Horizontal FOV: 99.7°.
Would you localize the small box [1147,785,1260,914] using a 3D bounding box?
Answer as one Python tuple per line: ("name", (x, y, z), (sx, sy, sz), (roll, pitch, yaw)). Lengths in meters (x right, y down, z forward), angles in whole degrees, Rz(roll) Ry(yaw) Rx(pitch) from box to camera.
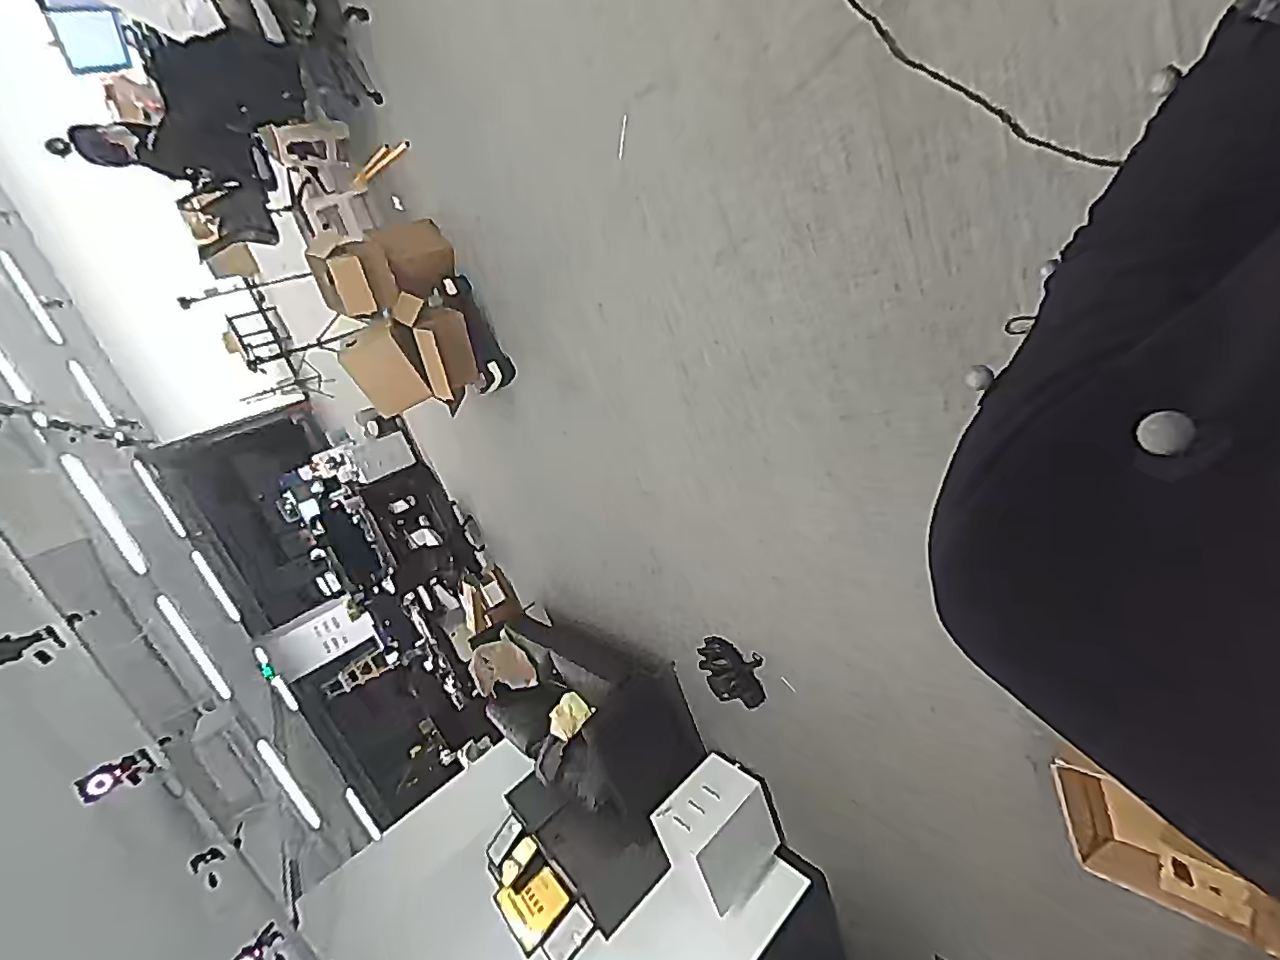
("small box", (1.395, 0.900, 1.341), (0.179, 0.176, 0.168), (5, 121, 51))
